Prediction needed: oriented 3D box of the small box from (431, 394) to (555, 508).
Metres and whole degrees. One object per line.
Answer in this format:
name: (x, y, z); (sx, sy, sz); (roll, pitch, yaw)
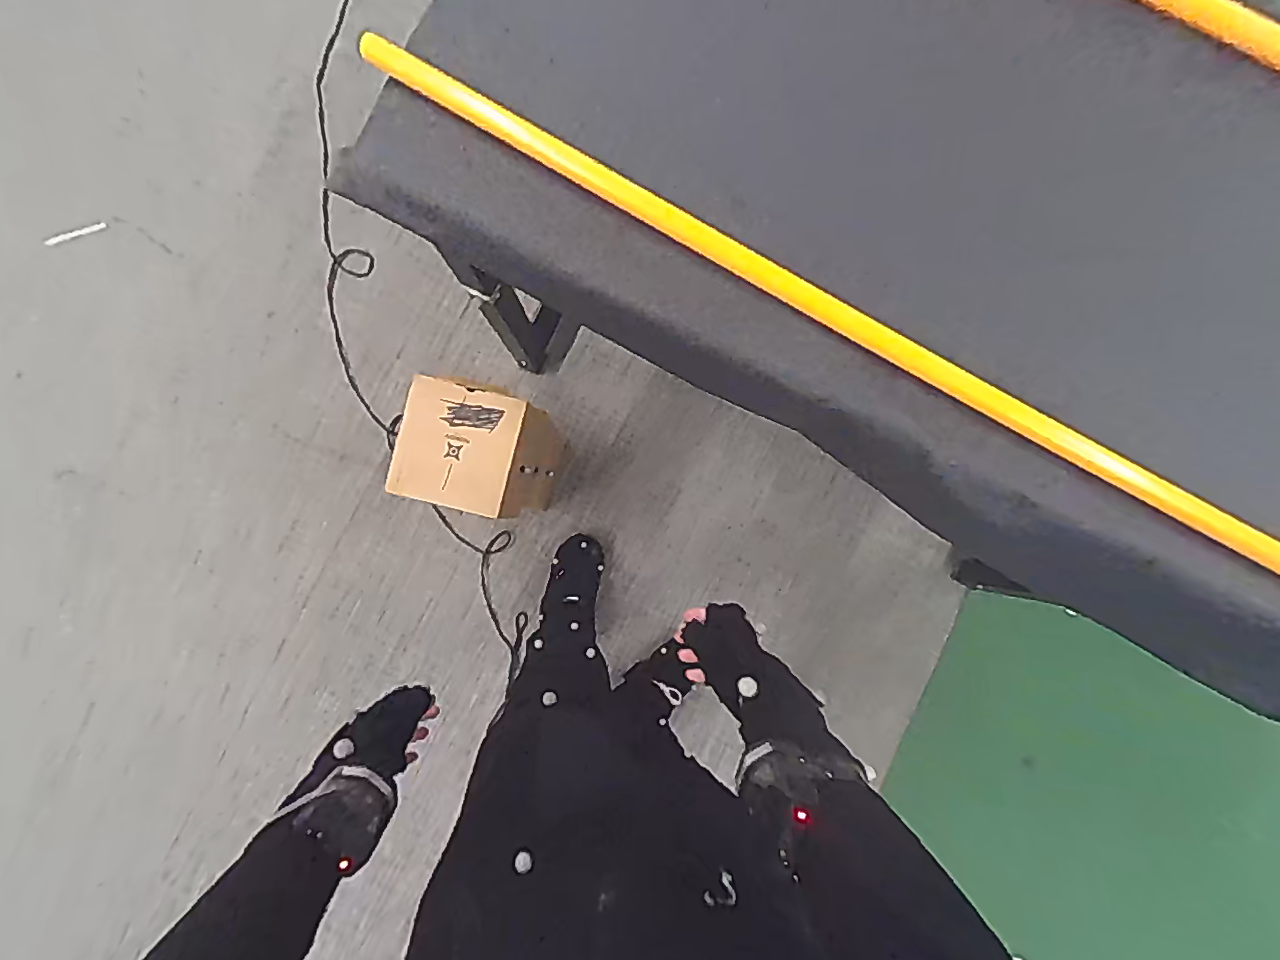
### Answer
small box: (-0.264, -0.045, 1.008); (0.168, 0.176, 0.179); (10, 86, 1)
